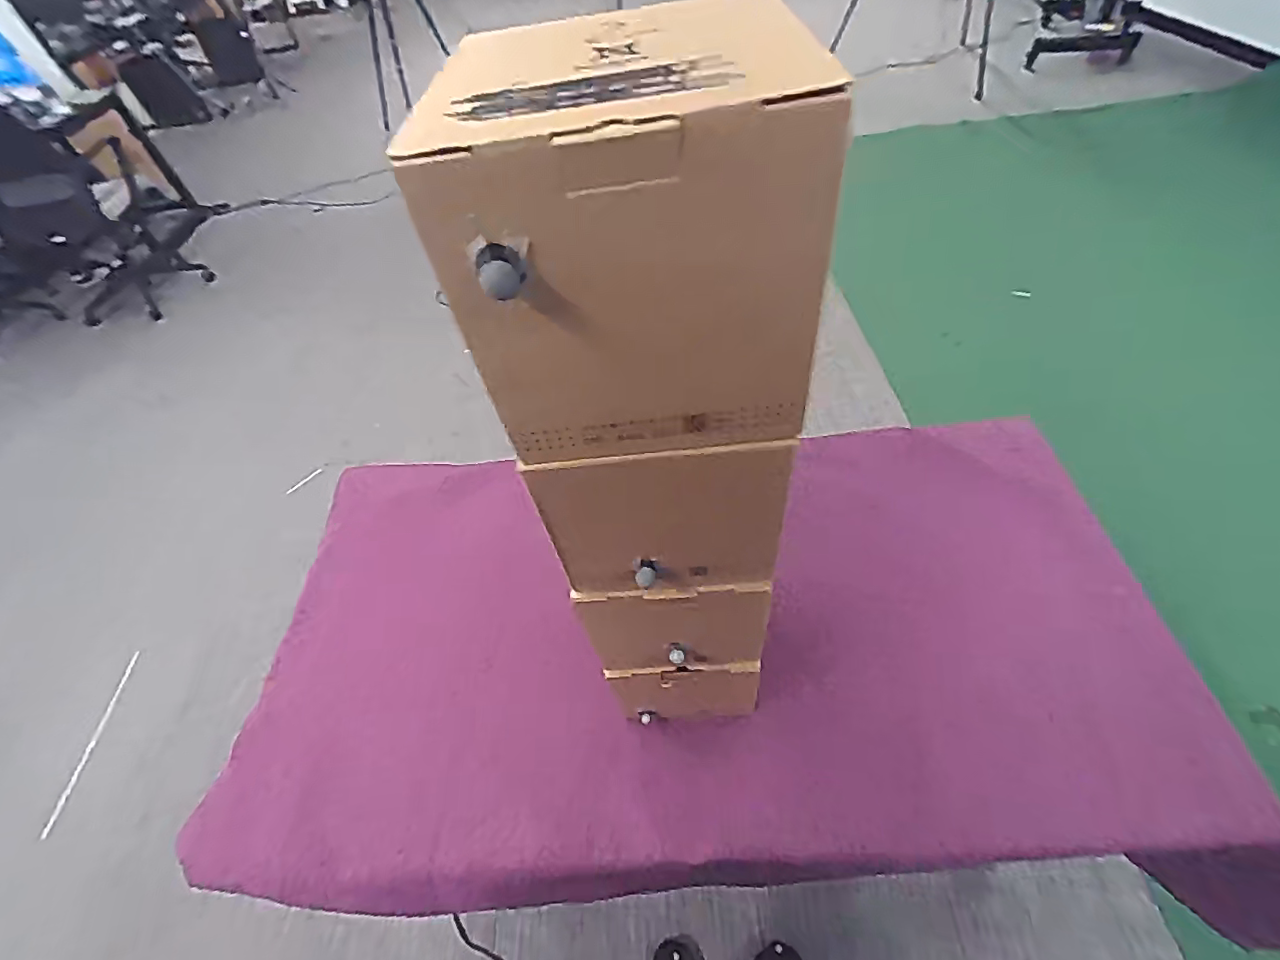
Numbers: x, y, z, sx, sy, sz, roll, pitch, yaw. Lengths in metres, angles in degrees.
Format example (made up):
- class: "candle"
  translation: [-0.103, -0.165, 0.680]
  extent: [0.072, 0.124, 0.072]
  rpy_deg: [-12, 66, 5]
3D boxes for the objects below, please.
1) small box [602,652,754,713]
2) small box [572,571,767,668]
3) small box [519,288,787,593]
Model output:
- class: "small box"
  translation: [0.050, 0.186, 0.683]
  extent: [0.168, 0.176, 0.179]
  rpy_deg: [-4, 50, 4]
- class: "small box"
  translation: [0.031, 0.077, 0.561]
  extent: [0.168, 0.176, 0.179]
  rpy_deg: [-5, 51, 5]
- class: "small box"
  translation: [0.014, -0.028, 0.437]
  extent: [0.168, 0.176, 0.179]
  rpy_deg: [-5, 51, 5]
